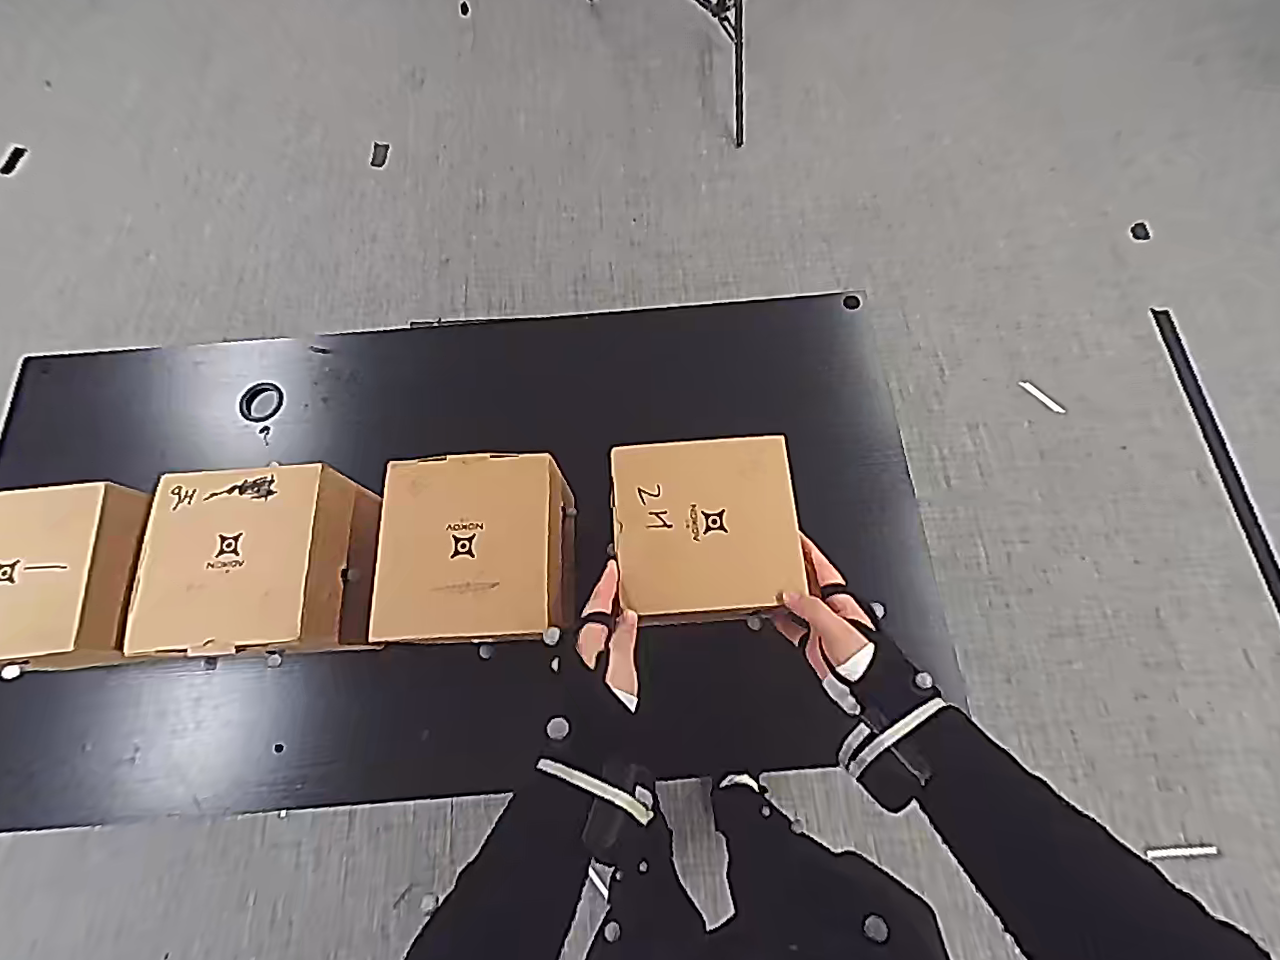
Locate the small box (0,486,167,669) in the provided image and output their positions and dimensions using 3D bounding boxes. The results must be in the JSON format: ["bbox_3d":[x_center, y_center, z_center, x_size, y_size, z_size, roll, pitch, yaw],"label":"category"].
[{"bbox_3d":[-0.602,0.116,0.599,0.179,0.176,0.168,-6,72,-1],"label":"small box"}]

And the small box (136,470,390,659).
[{"bbox_3d":[-0.388,0.100,0.600,0.168,0.176,0.179,-4,72,1],"label":"small box"}]

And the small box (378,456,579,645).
[{"bbox_3d":[-0.162,0.086,0.600,0.168,0.176,0.179,-4,73,2],"label":"small box"}]
